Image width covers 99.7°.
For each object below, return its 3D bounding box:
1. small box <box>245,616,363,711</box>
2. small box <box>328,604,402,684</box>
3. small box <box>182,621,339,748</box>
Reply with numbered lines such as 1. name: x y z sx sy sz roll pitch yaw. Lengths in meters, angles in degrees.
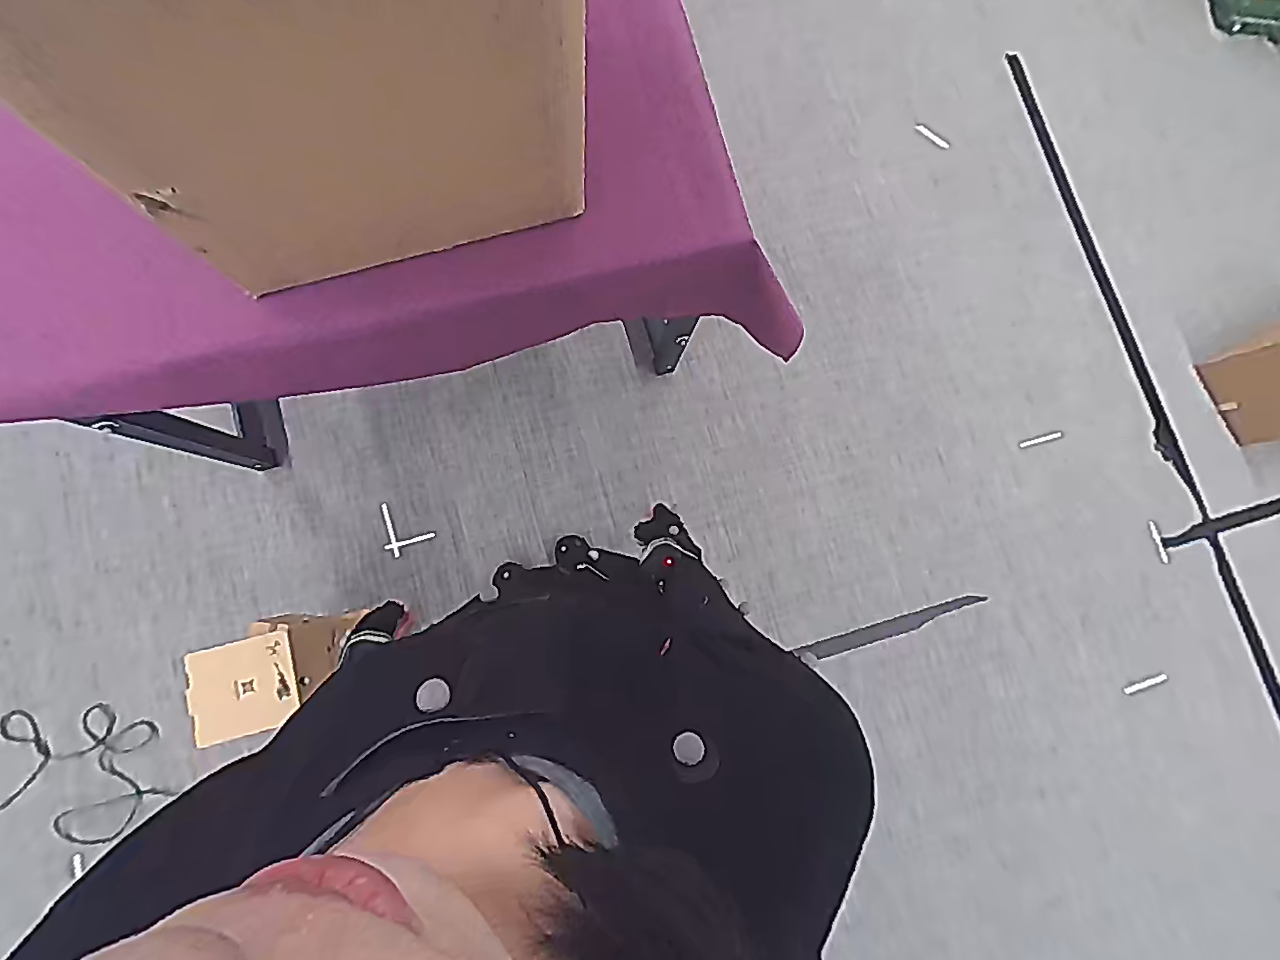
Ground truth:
1. small box: -0.733 0.392 1.182 0.179 0.176 0.168 6 80 -5
2. small box: -0.719 0.415 1.344 0.179 0.176 0.168 -13 84 -8
3. small box: -0.705 0.375 1.021 0.179 0.176 0.168 -13 83 -8
